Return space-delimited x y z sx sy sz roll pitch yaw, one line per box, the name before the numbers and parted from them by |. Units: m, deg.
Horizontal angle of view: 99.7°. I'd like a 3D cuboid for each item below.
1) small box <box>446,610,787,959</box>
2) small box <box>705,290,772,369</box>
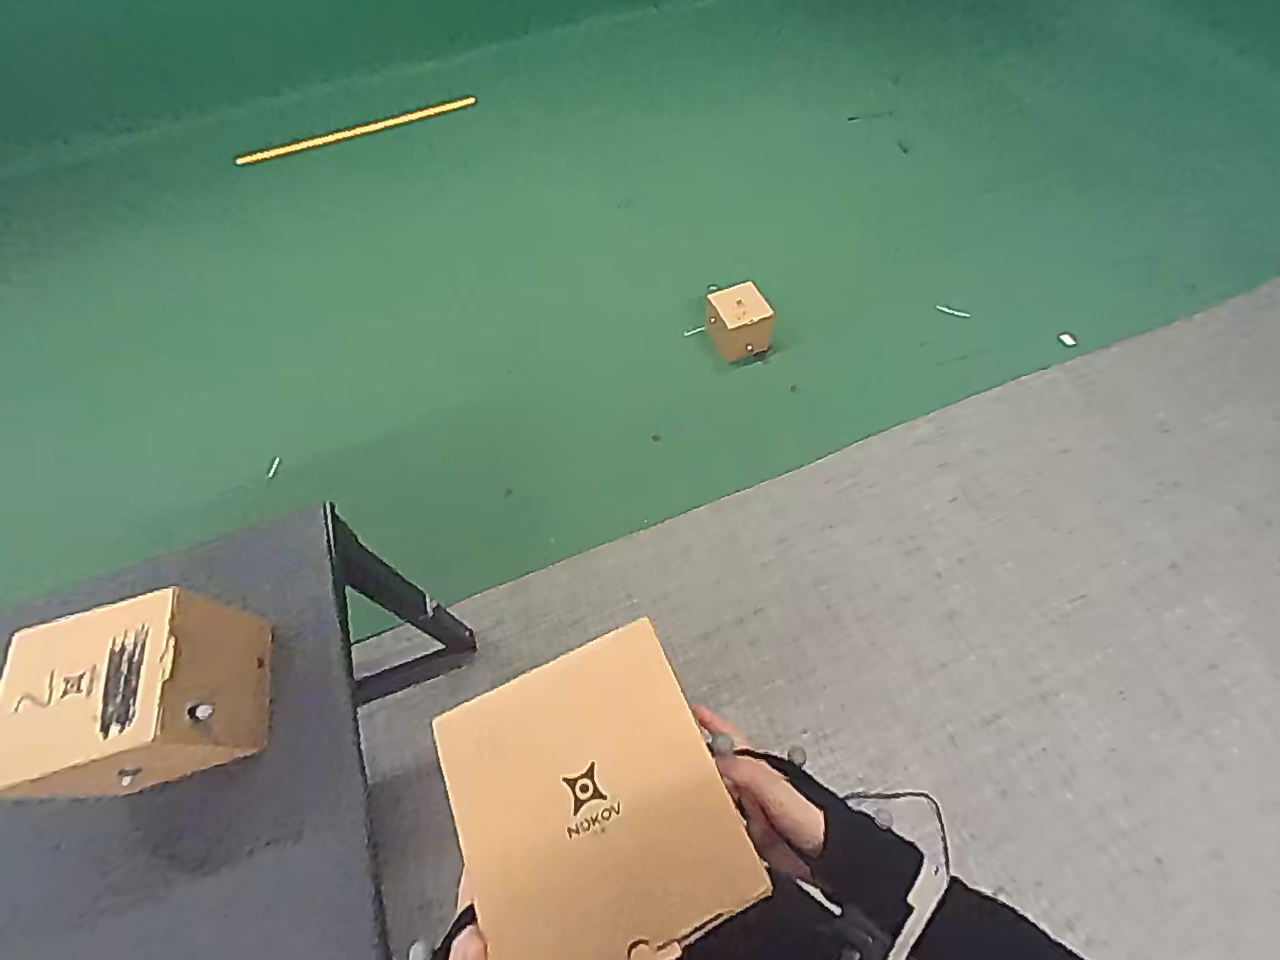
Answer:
small box | -0.017 0.227 0.400 0.168 0.176 0.179 -23 62 -6
small box | 0.334 -0.518 1.872 0.168 0.176 0.179 -19 60 -8
